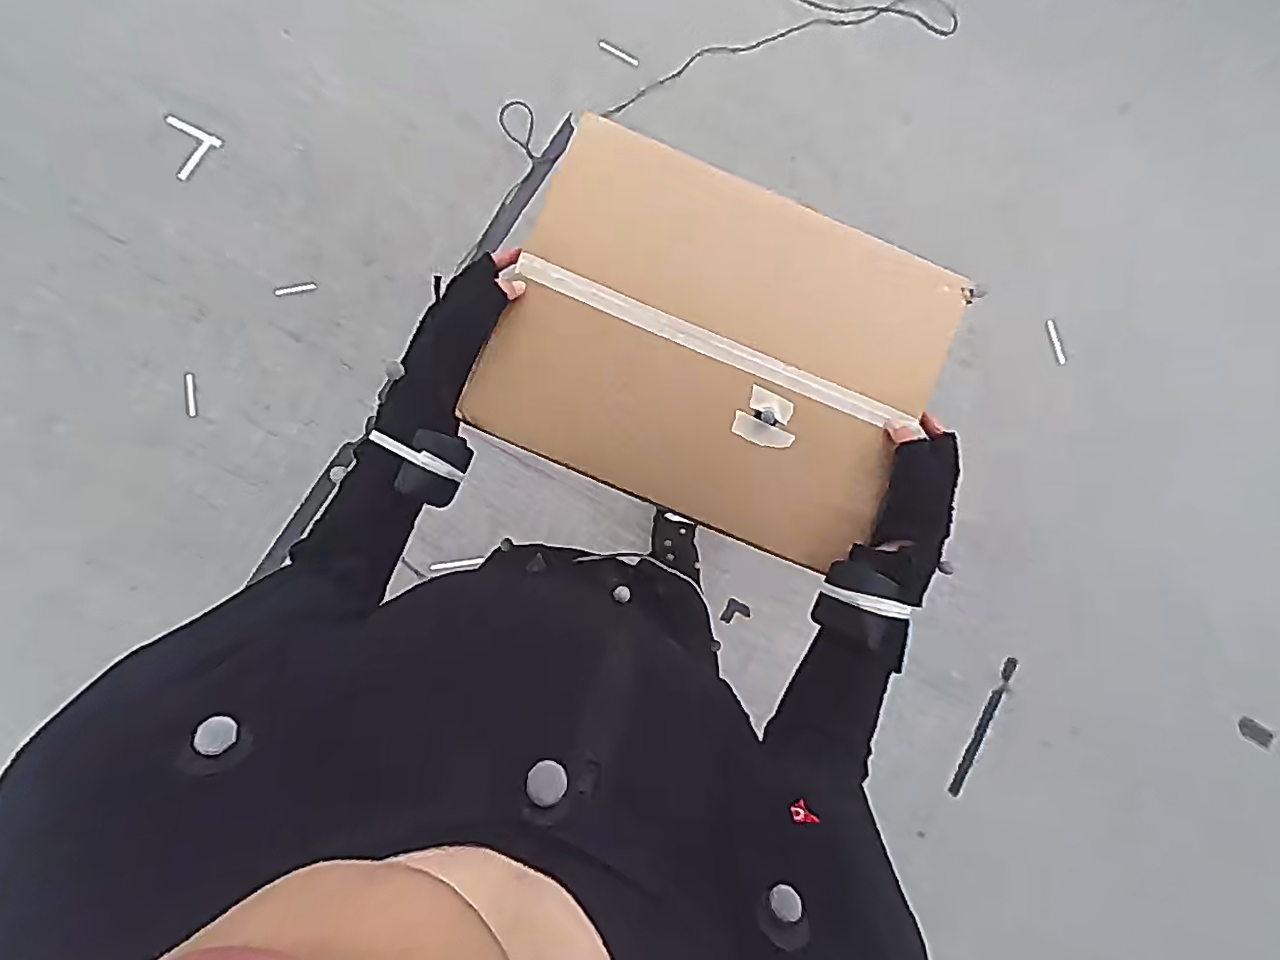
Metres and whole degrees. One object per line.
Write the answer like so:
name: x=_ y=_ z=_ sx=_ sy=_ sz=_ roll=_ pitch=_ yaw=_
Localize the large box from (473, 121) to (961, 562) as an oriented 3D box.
large box: x=0.071 y=-0.131 z=0.669 sx=0.408 sy=0.320 sz=0.320 roll=23 pitch=89 yaw=-2
